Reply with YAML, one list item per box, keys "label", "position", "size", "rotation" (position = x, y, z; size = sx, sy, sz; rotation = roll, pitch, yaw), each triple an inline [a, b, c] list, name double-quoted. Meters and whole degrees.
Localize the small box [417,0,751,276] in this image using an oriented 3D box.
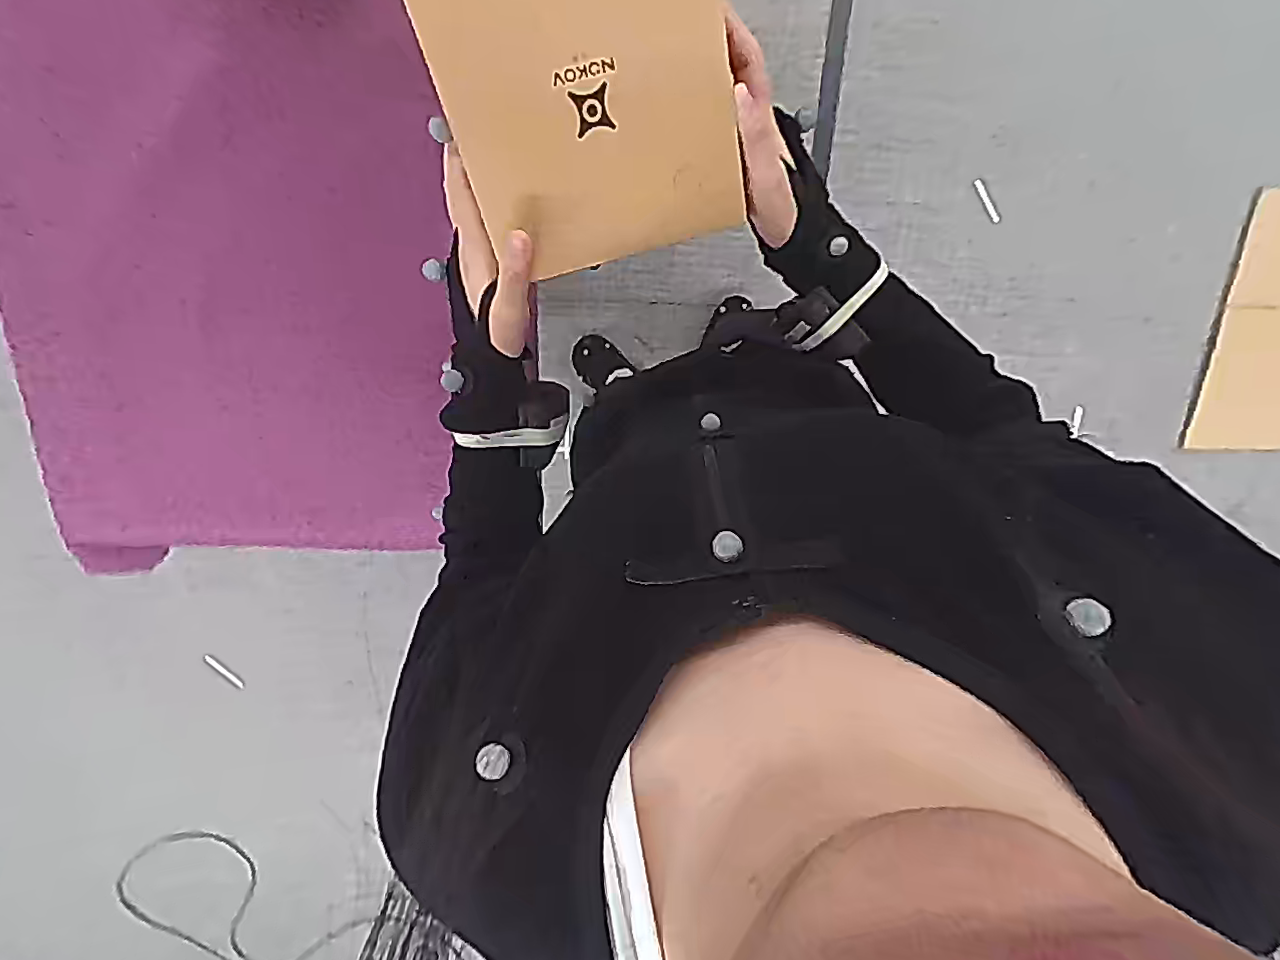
- label: "small box"
  position: [-0.032, -0.263, 0.373]
  size: [0.168, 0.176, 0.179]
  rotation: [-15, 121, 1]
